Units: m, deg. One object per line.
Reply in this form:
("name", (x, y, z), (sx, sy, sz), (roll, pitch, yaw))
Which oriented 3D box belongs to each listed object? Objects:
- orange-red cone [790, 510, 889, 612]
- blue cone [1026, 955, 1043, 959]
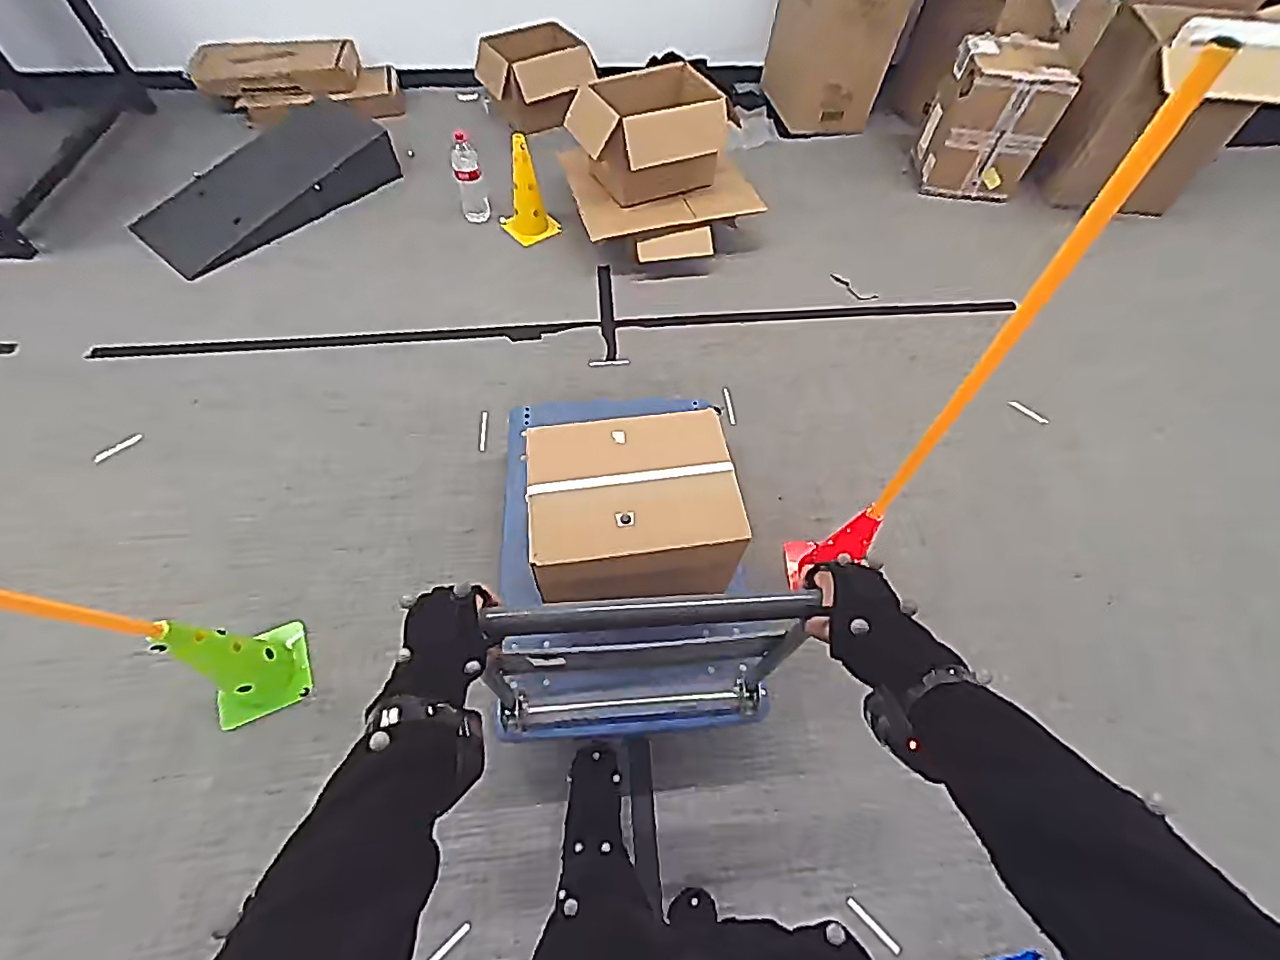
("orange-red cone", (0.518, 0.171, 1.321), (0.199, 0.360, 0.198), (2, 58, -2))
("blue cone", (0.726, 0.933, 0.866), (0.193, 0.380, 0.192), (-7, 57, -7))
